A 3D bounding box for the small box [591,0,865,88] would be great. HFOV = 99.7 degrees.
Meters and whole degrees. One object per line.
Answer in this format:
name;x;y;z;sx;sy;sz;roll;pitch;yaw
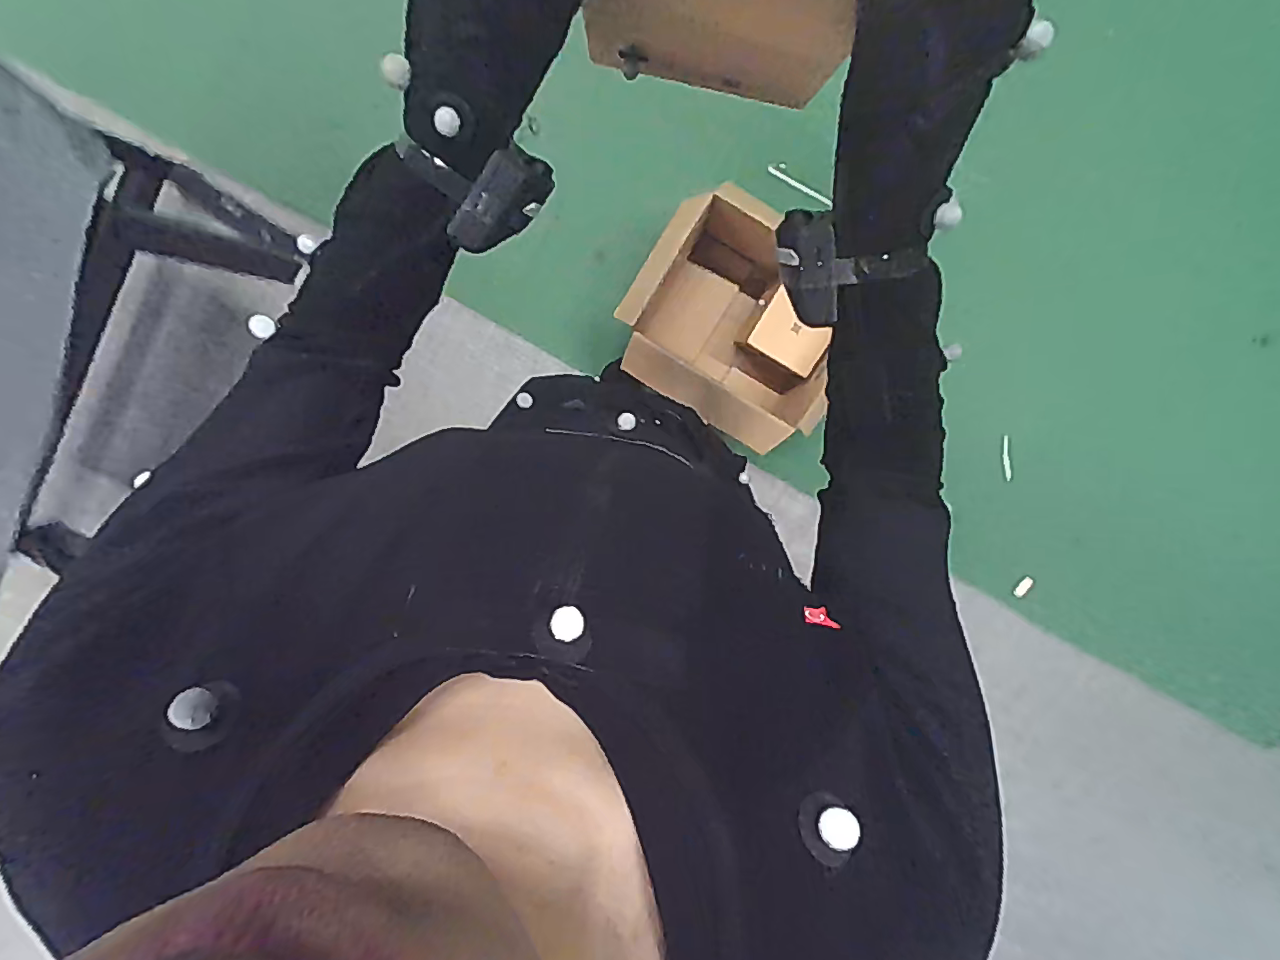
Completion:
small box;0.061;-0.357;0.299;0.168;0.176;0.179;9;106;-4
